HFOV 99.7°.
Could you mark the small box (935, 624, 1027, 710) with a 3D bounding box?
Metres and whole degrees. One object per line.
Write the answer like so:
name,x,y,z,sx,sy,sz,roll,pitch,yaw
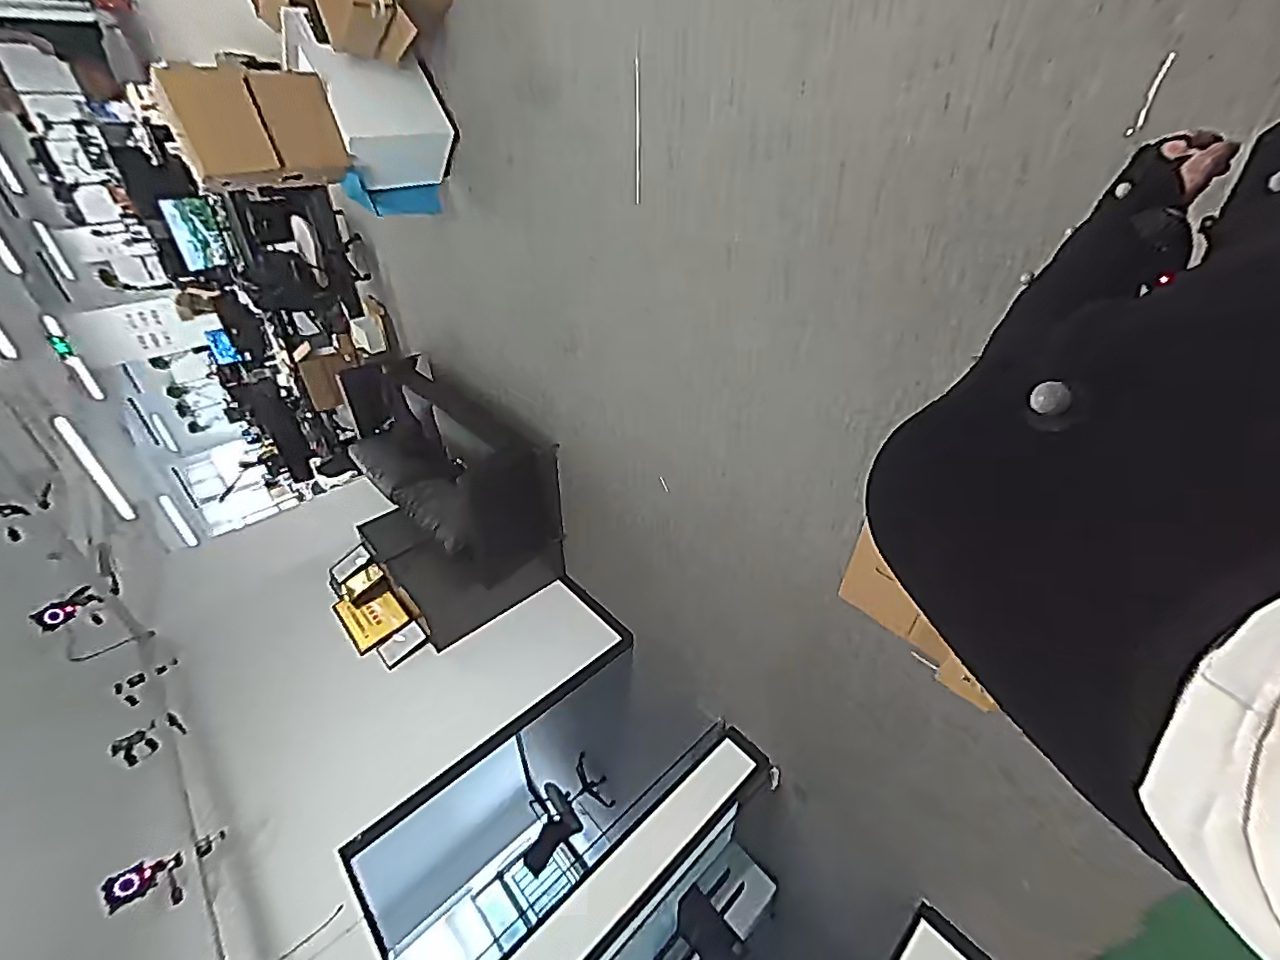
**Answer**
small box,1.115,0.600,1.767,0.179,0.176,0.168,35,139,34
